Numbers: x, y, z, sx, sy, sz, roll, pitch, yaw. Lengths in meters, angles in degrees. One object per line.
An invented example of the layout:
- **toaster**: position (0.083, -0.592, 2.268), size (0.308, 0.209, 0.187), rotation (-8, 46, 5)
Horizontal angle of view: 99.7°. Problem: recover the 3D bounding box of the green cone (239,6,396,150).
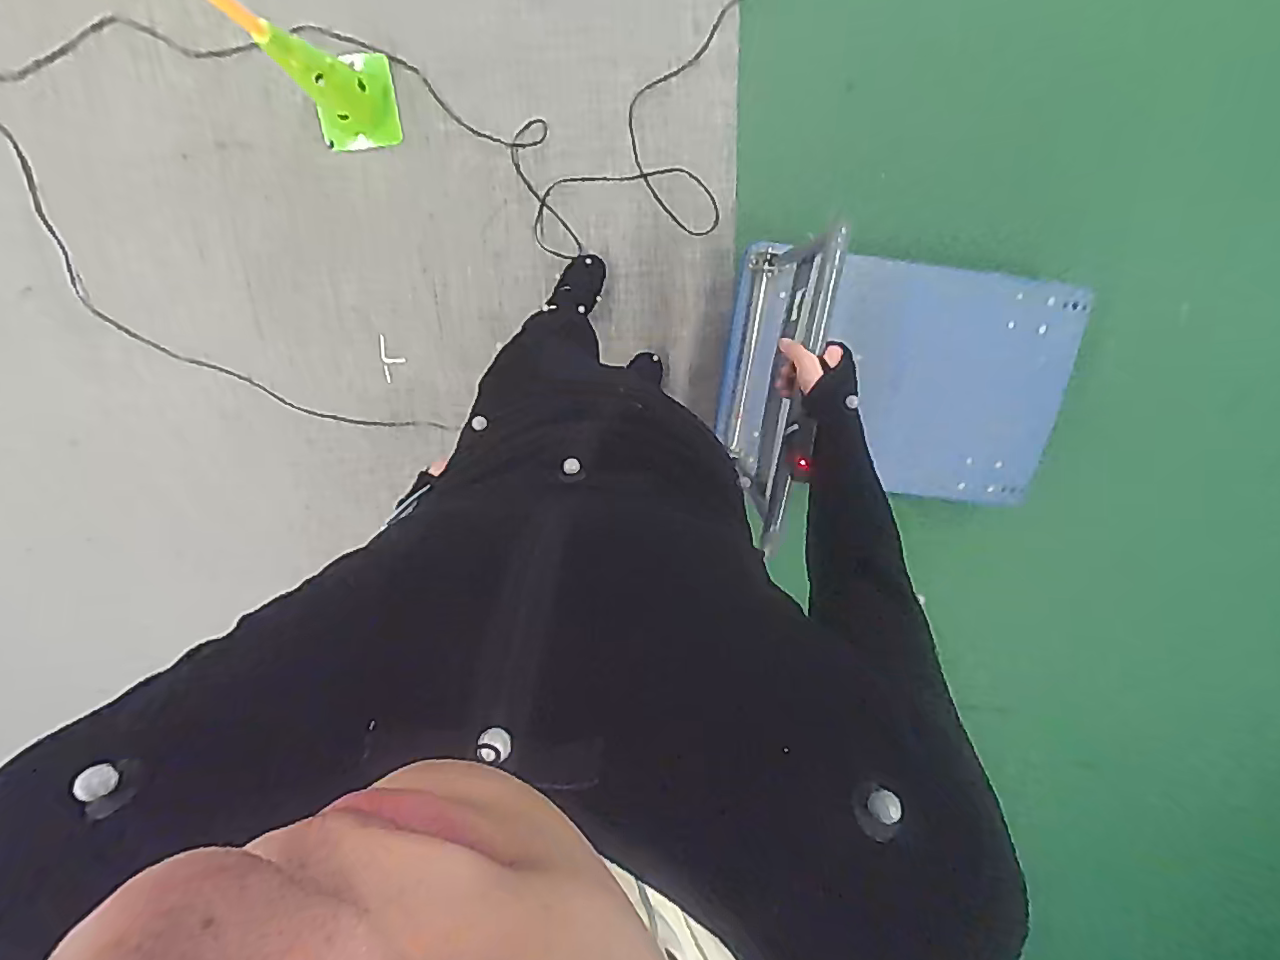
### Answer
- **green cone**: position (-0.712, -0.889, 1.165), size (0.200, 0.368, 0.202), rotation (-6, 105, 1)
